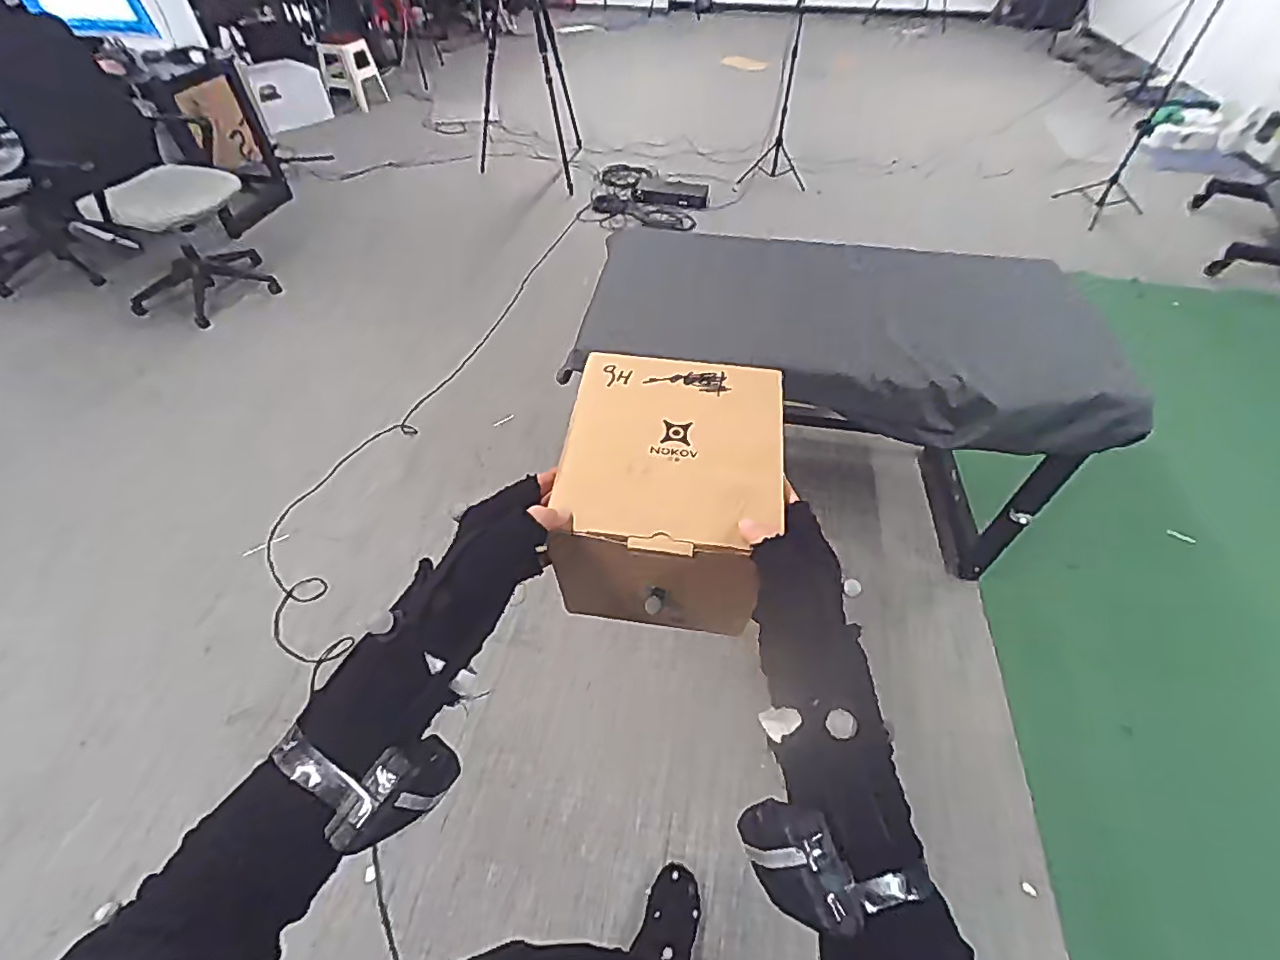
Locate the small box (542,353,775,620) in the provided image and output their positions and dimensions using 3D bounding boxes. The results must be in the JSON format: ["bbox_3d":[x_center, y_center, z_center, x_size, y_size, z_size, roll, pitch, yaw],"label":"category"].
[{"bbox_3d":[0.023,0.013,0.486,0.168,0.176,0.179,6,58,5],"label":"small box"}]
